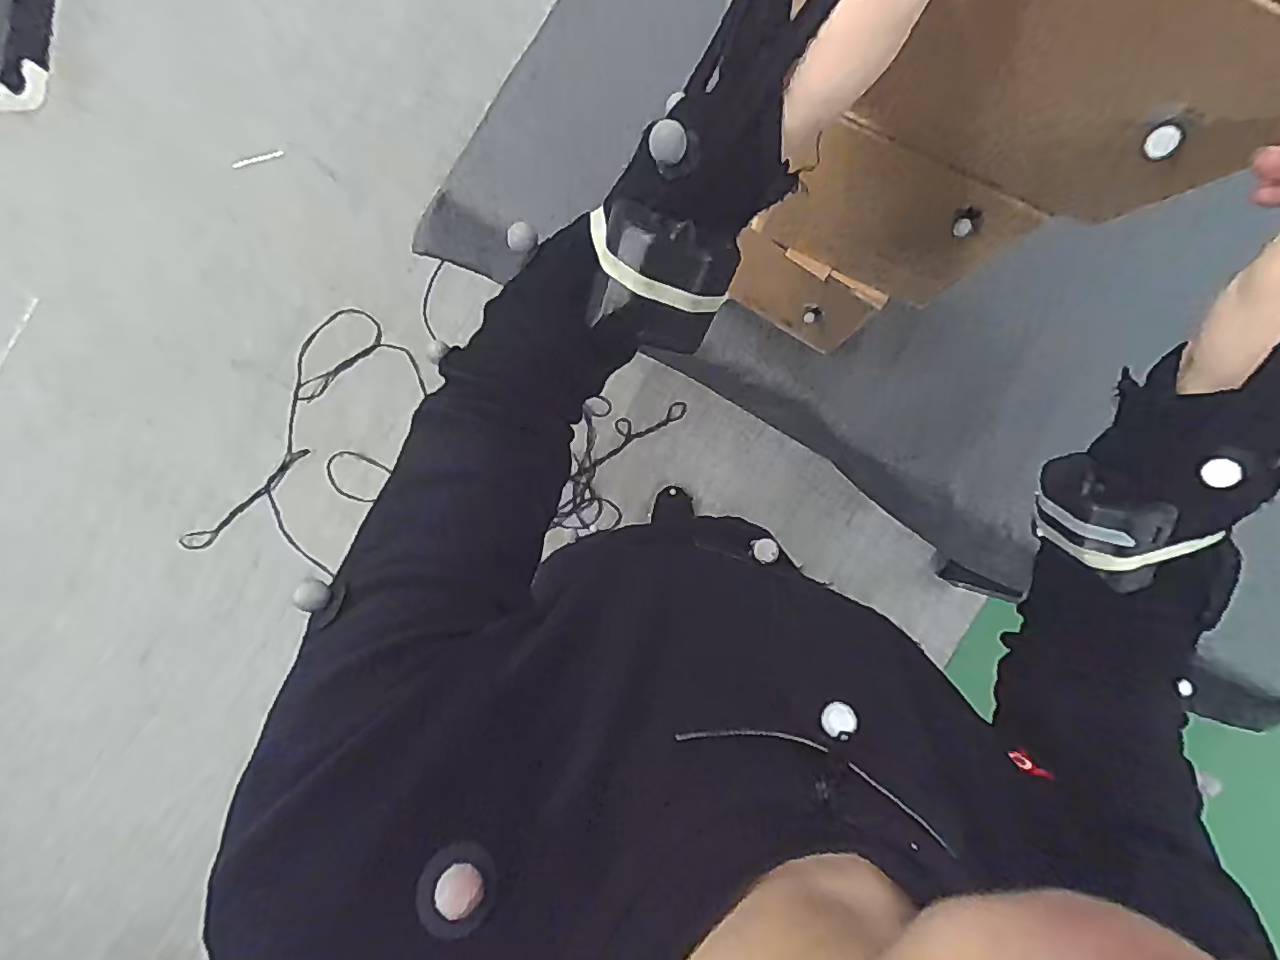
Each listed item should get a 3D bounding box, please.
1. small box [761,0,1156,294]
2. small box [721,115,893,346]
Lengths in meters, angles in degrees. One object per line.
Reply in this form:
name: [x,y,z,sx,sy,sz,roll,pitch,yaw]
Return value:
small box: [0.214,-0.270,0.416,0.179,0.176,0.168,25,89,0]
small box: [0.201,-0.270,0.578,0.168,0.176,0.179,32,88,1]
